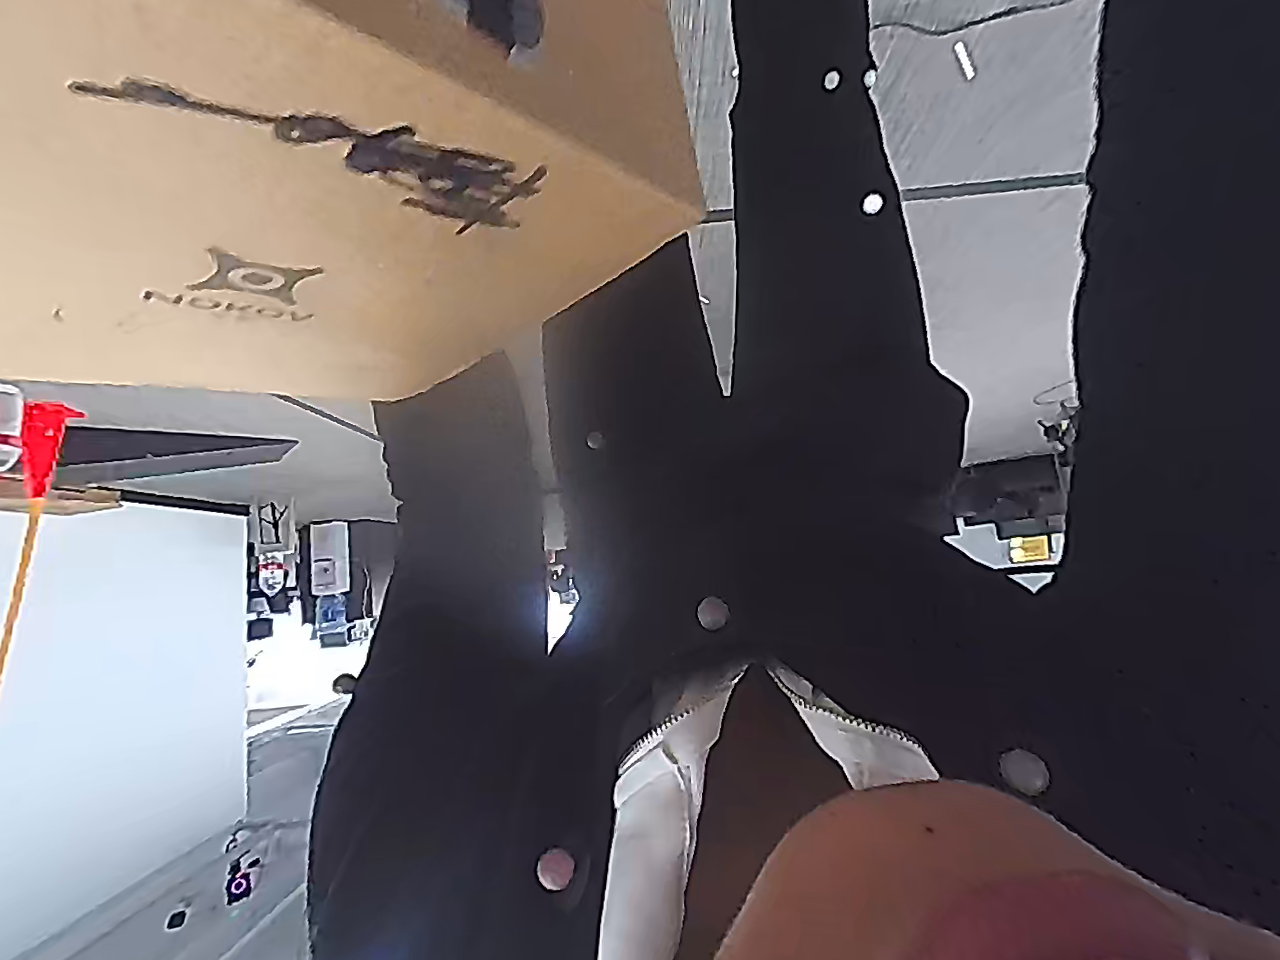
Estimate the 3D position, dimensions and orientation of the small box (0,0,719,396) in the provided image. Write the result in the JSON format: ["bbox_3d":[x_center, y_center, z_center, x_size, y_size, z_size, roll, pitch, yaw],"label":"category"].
[{"bbox_3d":[-0.106,-0.126,0.129,0.179,0.176,0.168,-12,177,40],"label":"small box"}]
